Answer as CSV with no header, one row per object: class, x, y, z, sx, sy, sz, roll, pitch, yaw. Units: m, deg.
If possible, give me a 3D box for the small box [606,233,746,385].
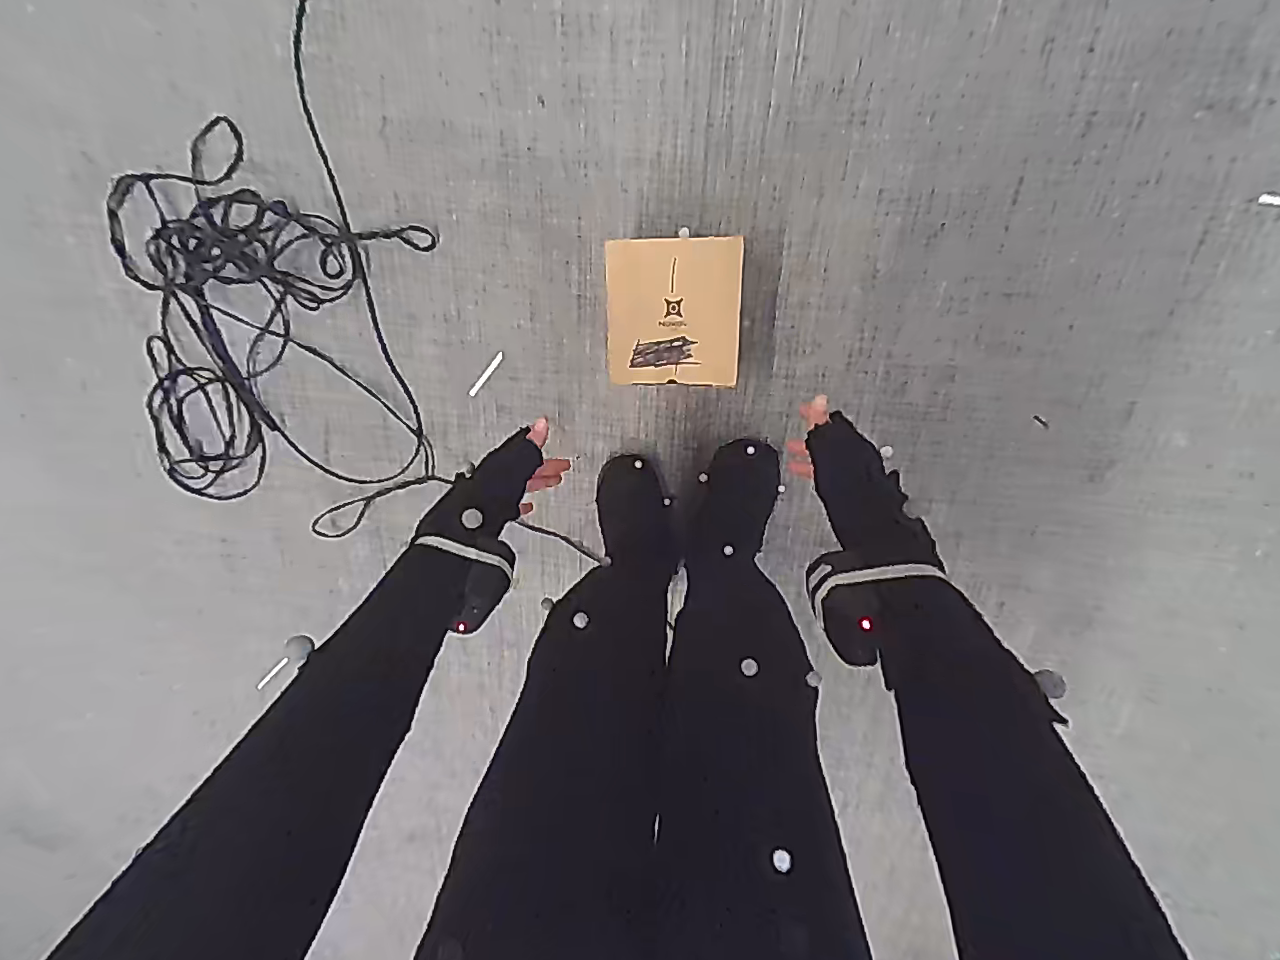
small box,0.051,-0.234,0.728,0.168,0.176,0.179,3,112,7
